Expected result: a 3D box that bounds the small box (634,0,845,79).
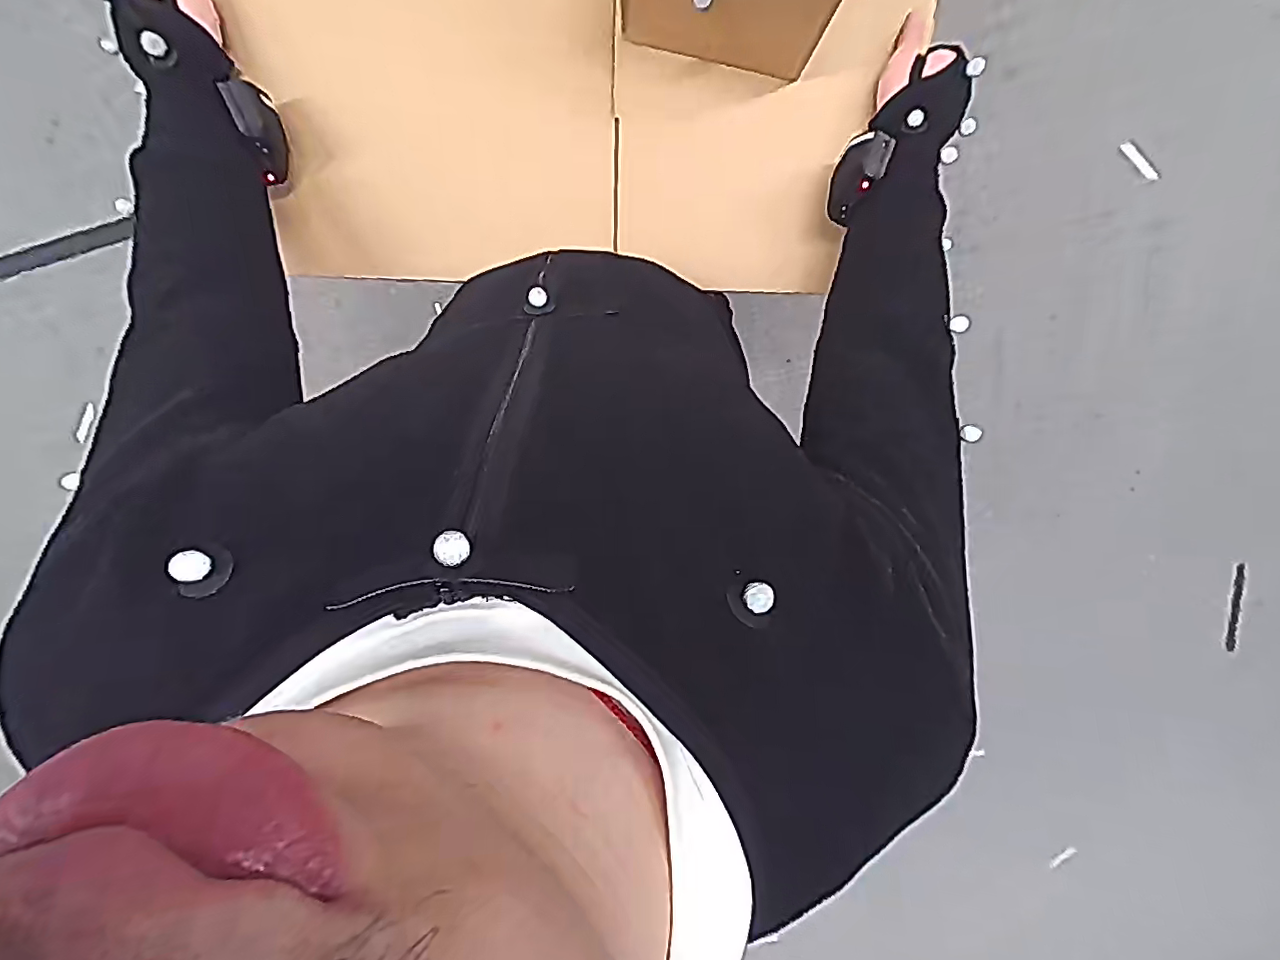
[{"bbox_3d":[0.093,-0.461,0.428,0.179,0.176,0.168,13,103,-2],"label":"small box"}]
